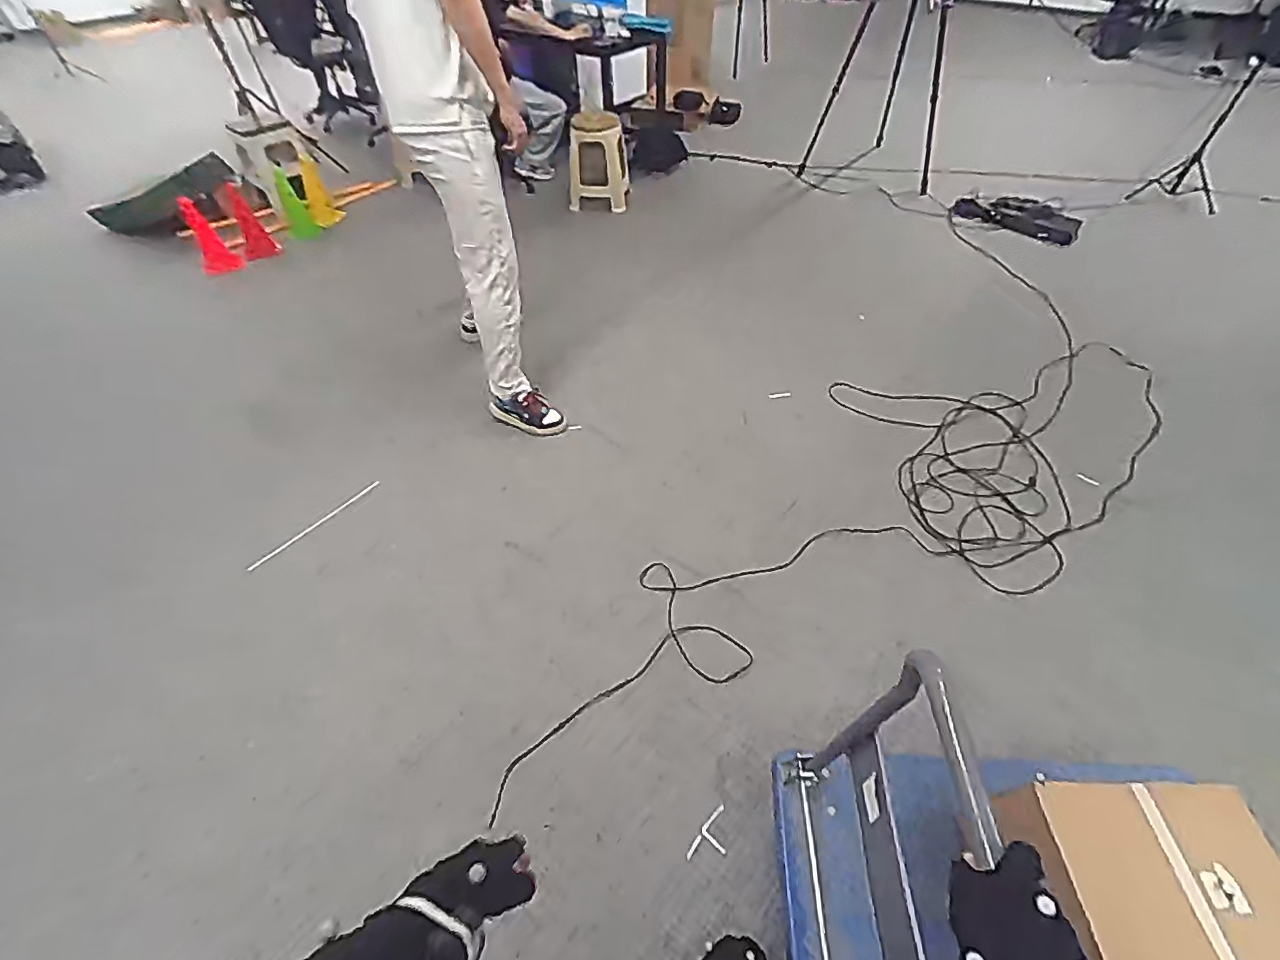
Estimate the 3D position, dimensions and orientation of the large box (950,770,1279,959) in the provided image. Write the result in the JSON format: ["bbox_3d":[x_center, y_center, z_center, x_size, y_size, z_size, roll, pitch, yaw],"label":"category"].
[{"bbox_3d":[0.773,0.724,0.863,0.320,0.320,0.408,0,49,2],"label":"large box"}]
